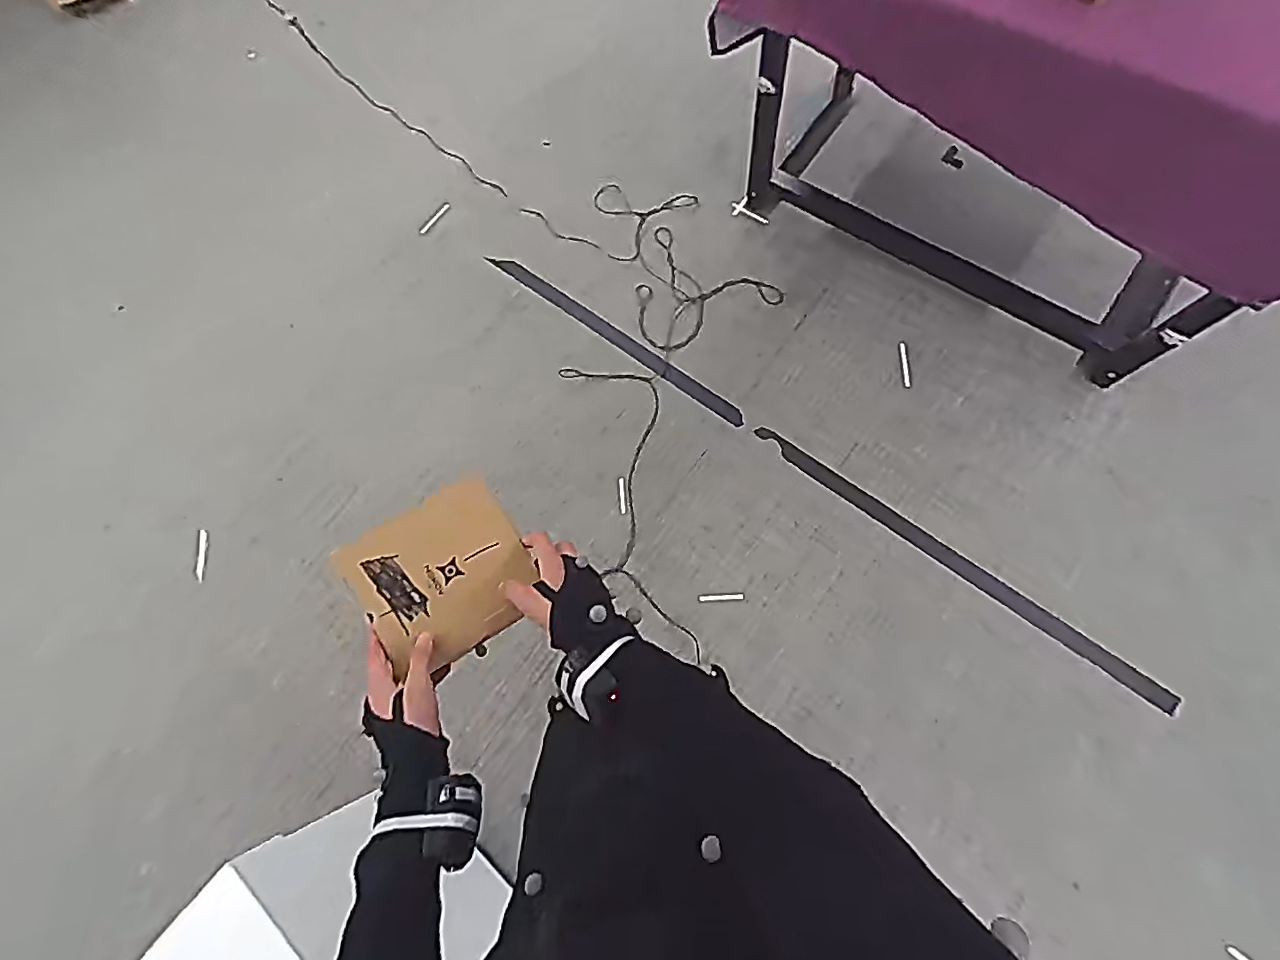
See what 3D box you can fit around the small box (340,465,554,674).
[{"bbox_3d":[-0.215,0.109,0.656,0.179,0.176,0.168,-30,84,-14],"label":"small box"}]
